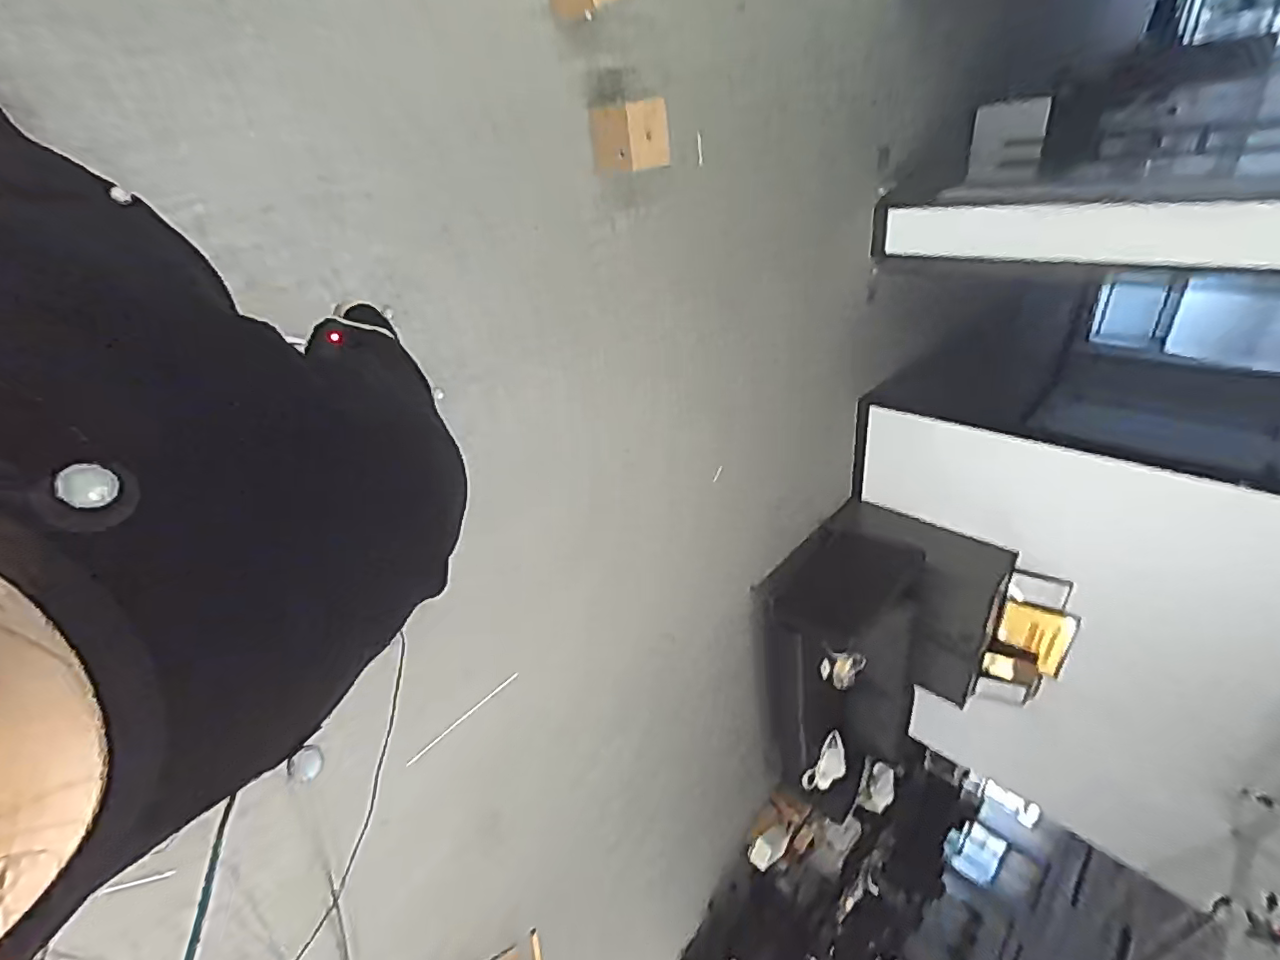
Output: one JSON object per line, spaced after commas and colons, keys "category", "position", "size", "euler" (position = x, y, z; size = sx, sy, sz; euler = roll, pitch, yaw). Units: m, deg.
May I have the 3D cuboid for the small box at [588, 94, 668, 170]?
{"category": "small box", "position": [-0.036, -1.060, 1.654], "size": [0.168, 0.176, 0.179], "euler": [-35, 130, -32]}

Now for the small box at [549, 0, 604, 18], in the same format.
{"category": "small box", "position": [-0.150, -1.343, 1.397], "size": [0.168, 0.176, 0.179], "euler": [-44, 136, -23]}
